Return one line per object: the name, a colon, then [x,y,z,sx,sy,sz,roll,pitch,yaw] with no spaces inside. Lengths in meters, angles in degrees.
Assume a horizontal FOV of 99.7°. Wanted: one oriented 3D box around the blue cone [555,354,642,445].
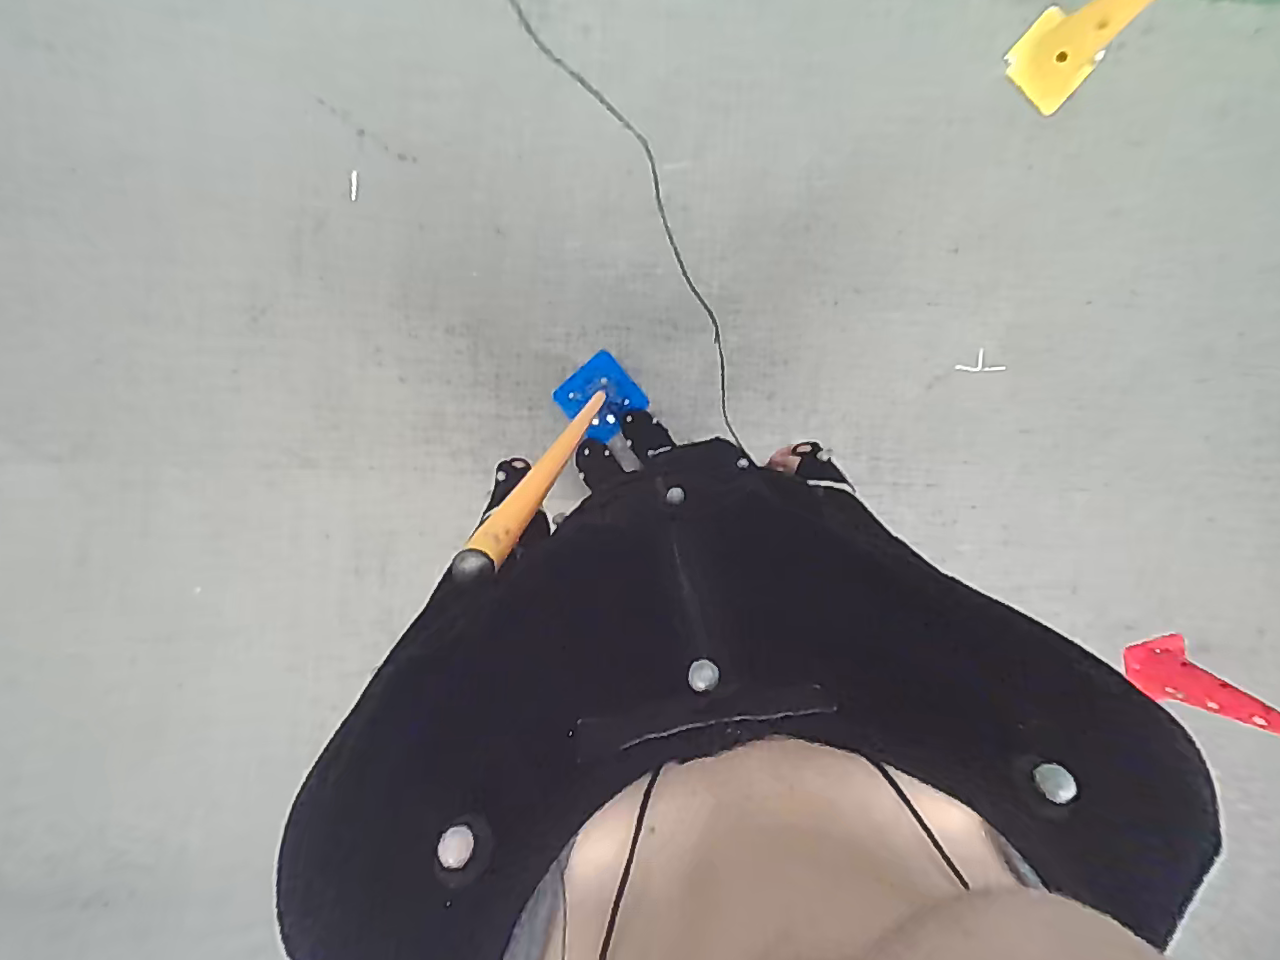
blue cone: [-0.099,-0.186,1.277,0.193,0.380,0.192,-42,99,3]
